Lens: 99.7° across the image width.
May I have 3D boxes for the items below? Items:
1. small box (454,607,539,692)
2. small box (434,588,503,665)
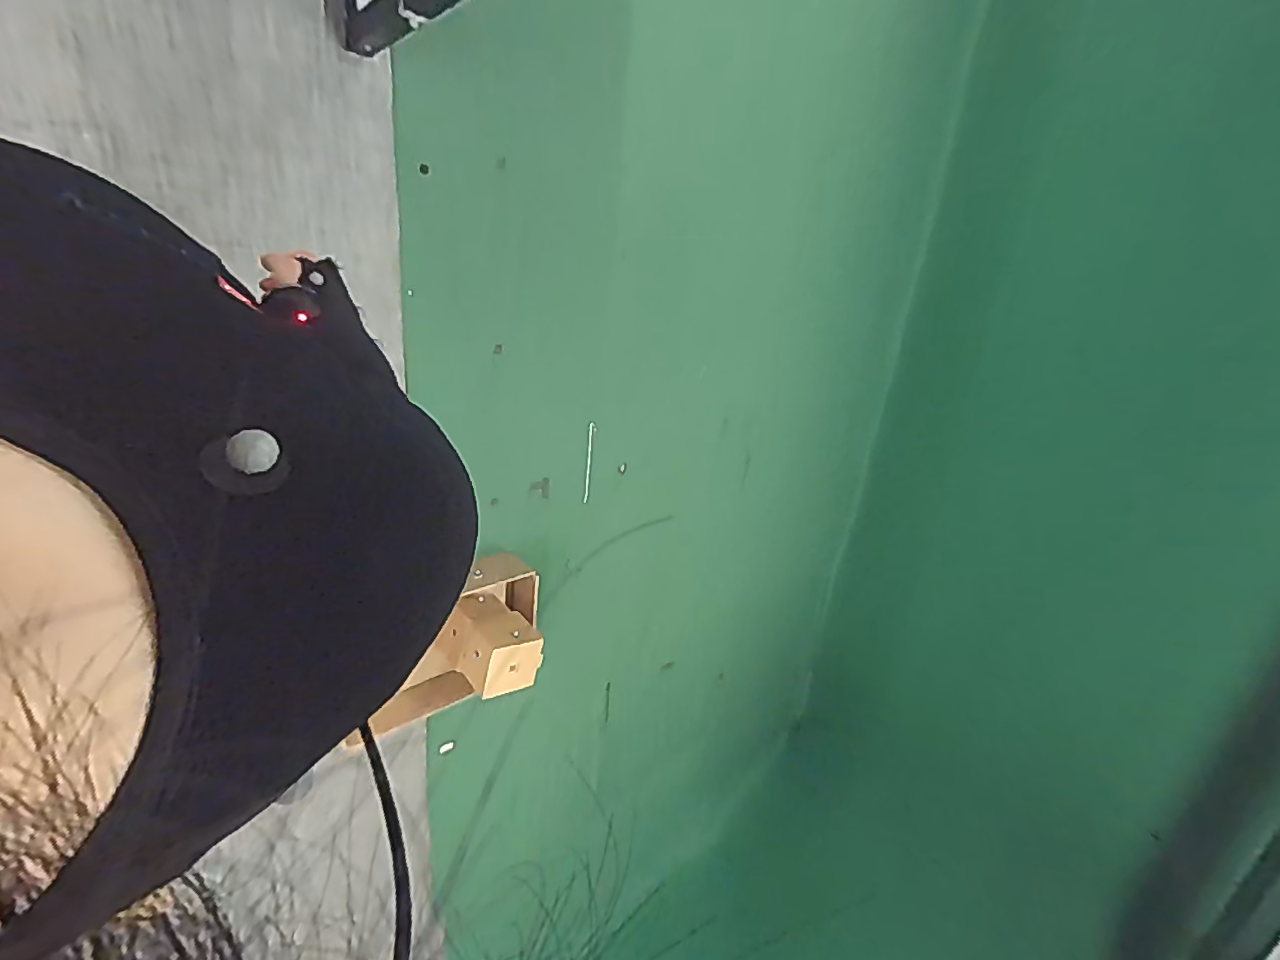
[{"bbox_3d":[-0.437,0.502,1.632,0.179,0.176,0.168,1,110,-45],"label":"small box"},{"bbox_3d":[-0.546,0.467,1.749,0.168,0.176,0.179,8,104,-47],"label":"small box"}]
